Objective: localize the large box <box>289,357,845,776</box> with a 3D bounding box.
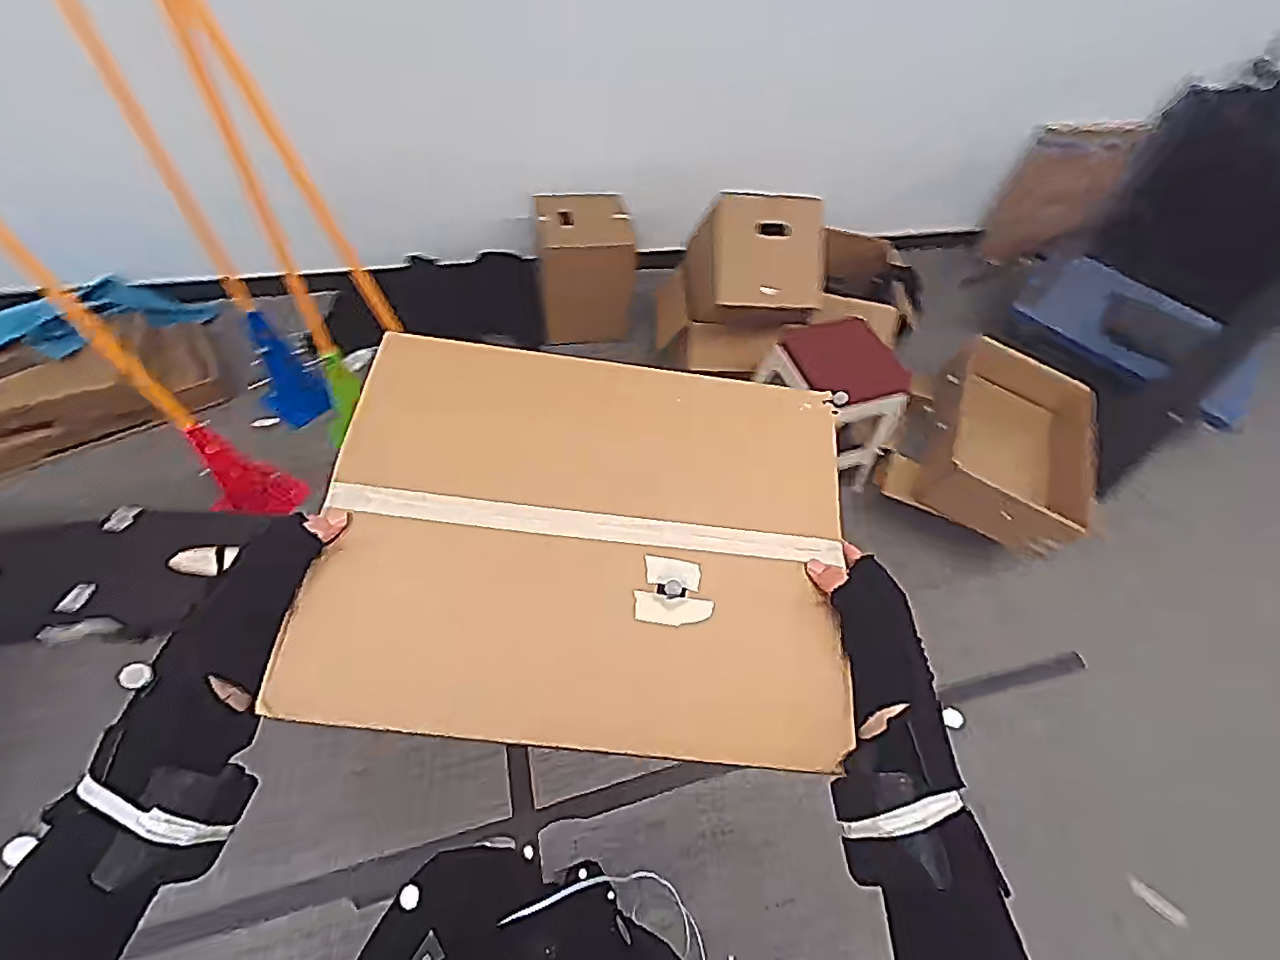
[{"bbox_3d":[-0.048,0.110,0.575,0.408,0.320,0.320,8,67,-3],"label":"large box"}]
